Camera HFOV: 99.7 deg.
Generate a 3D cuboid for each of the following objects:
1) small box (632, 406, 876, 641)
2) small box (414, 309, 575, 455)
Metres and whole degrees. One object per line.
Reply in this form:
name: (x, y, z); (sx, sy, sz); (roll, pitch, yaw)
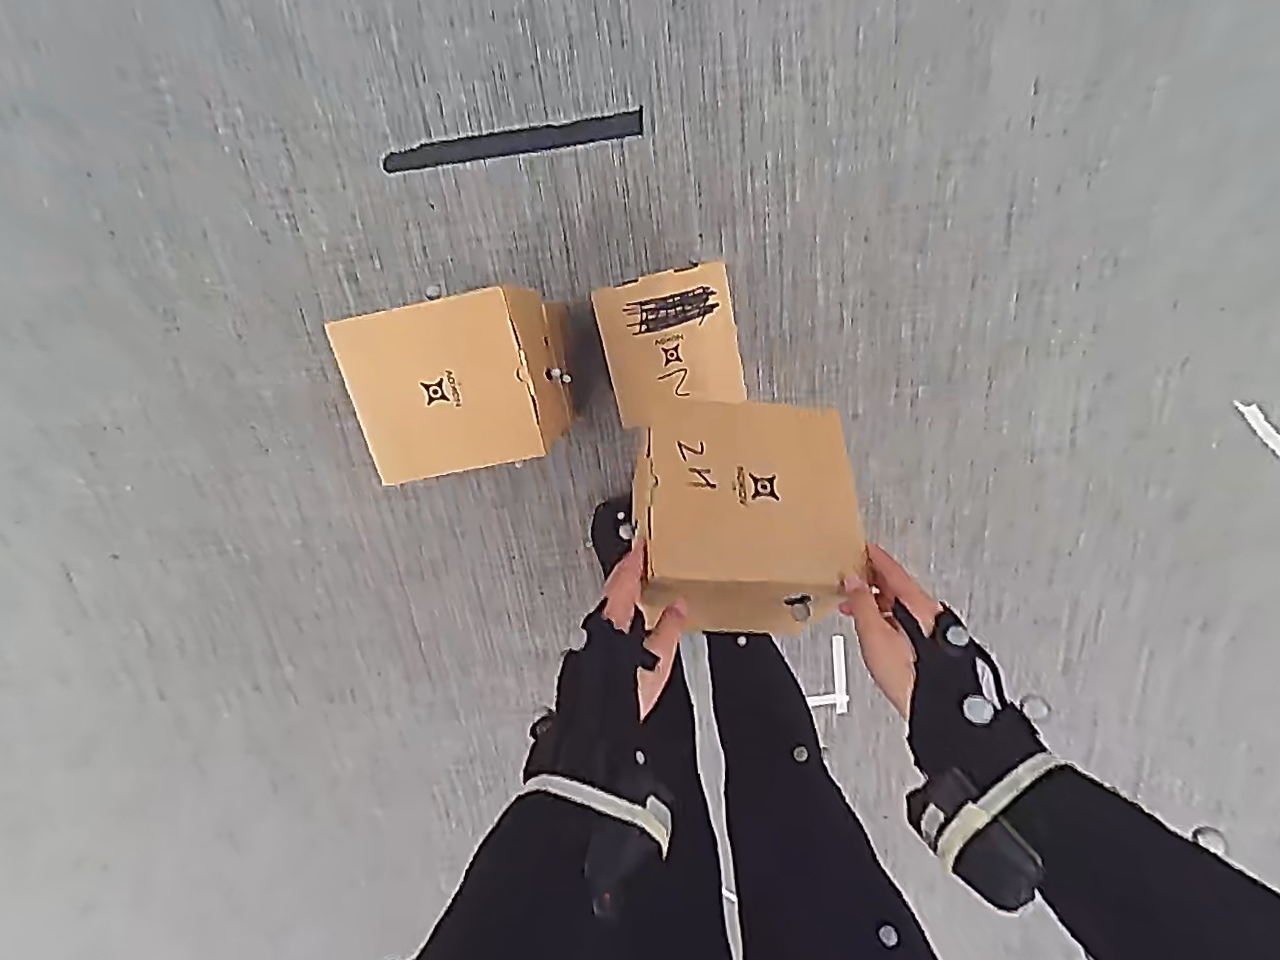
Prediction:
small box: (0.087, 0.050, 0.510); (0.179, 0.168, 0.176); (3, 151, -4)
small box: (-0.189, -0.144, 0.757); (0.168, 0.176, 0.179); (-5, 106, 1)
